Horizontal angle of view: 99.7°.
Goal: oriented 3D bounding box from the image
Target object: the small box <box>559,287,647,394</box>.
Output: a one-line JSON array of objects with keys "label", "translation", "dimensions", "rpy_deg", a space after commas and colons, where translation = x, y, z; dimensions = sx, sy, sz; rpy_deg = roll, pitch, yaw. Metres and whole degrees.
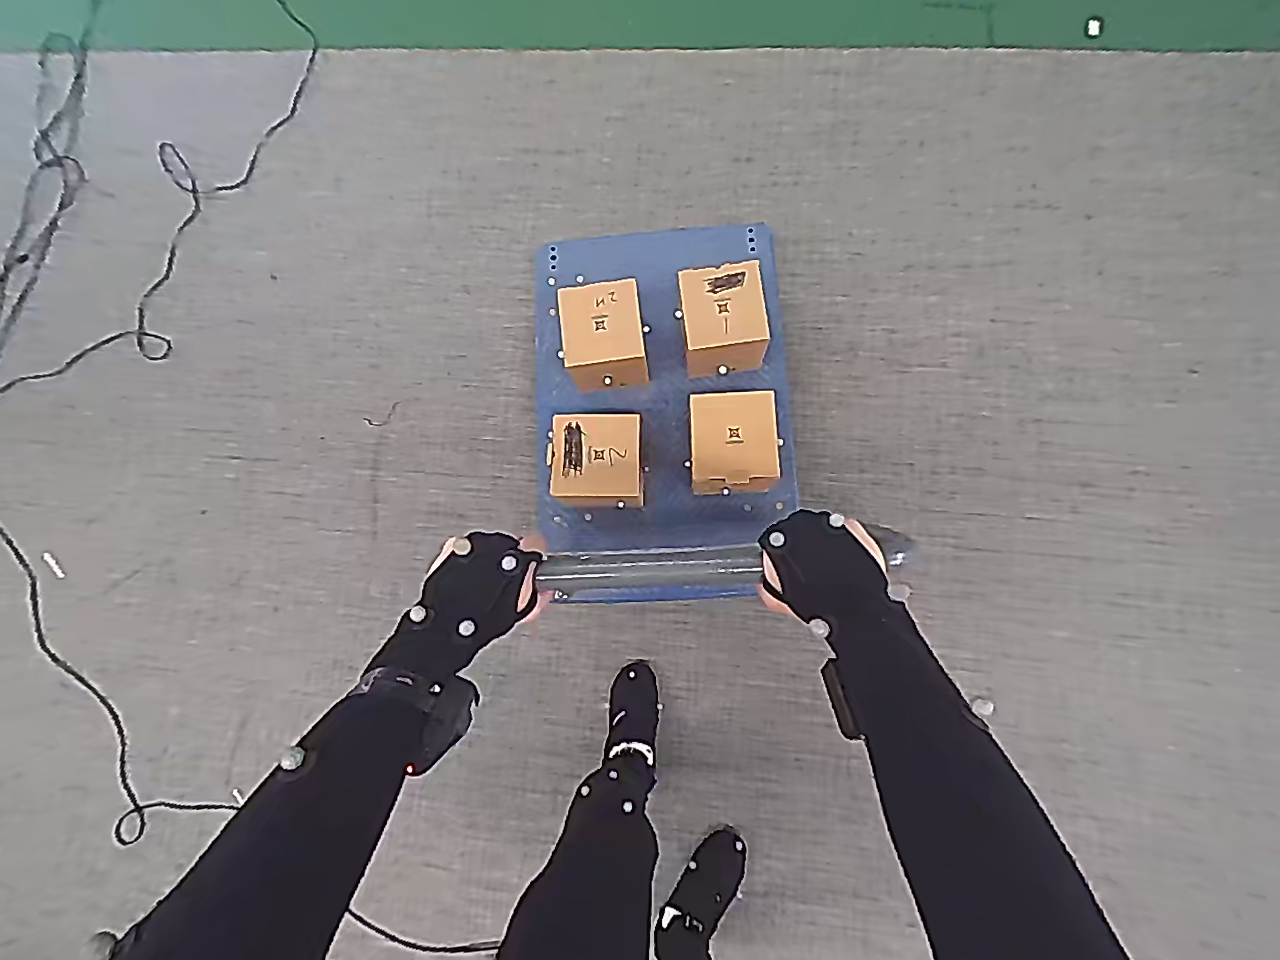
[{"label": "small box", "translation": [-0.077, -0.299, 1.203], "dimensions": [0.168, 0.176, 0.179], "rpy_deg": [-7, 80, 2]}]

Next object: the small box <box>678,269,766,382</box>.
[{"label": "small box", "translation": [0.173, -0.333, 1.190], "dimensions": [0.168, 0.176, 0.179], "rpy_deg": [-7, 81, 4]}]

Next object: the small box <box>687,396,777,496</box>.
[{"label": "small box", "translation": [0.187, -0.066, 1.143], "dimensions": [0.168, 0.176, 0.179], "rpy_deg": [-3, 80, 4]}]
